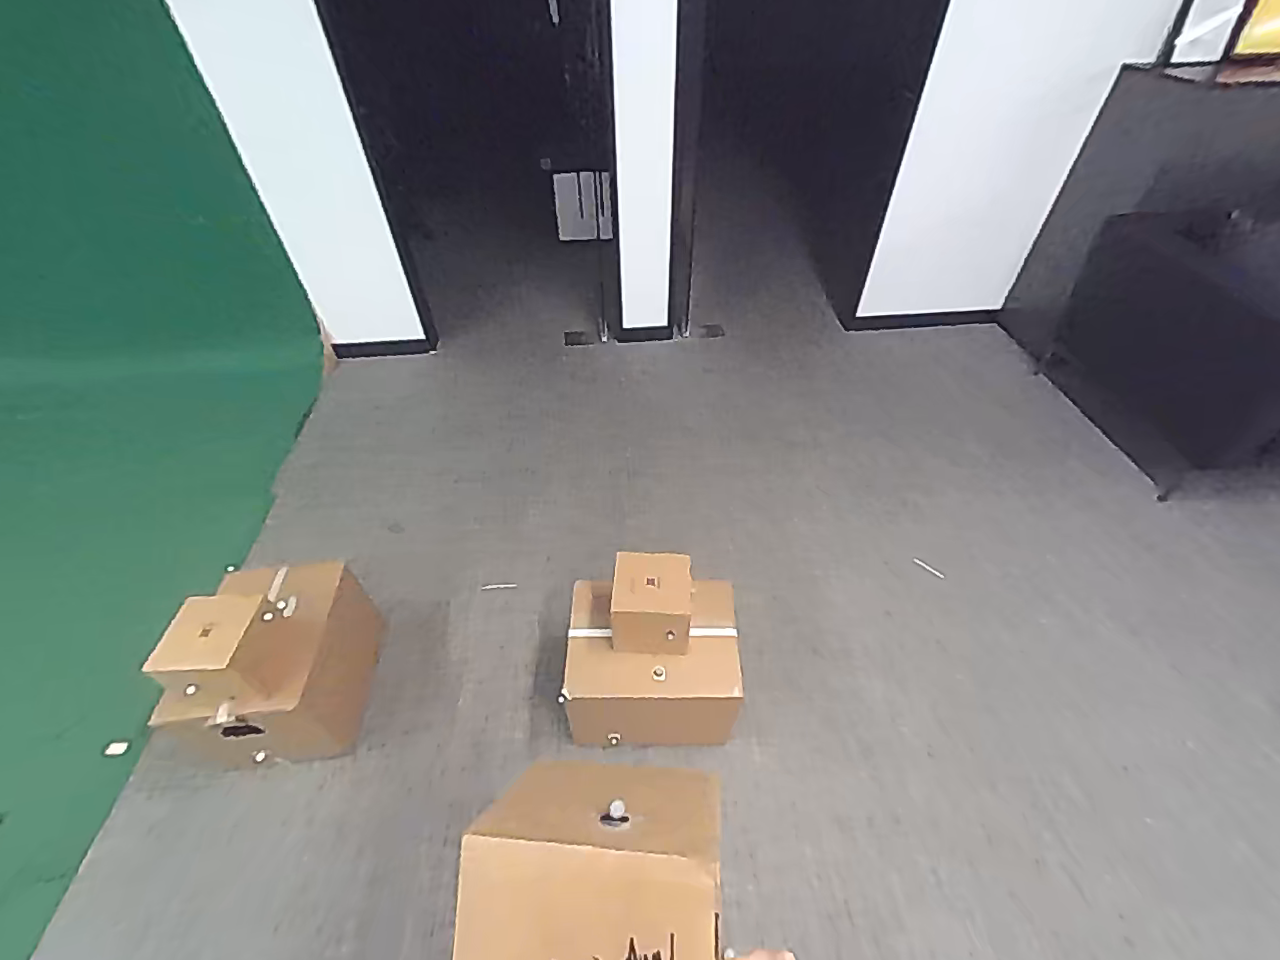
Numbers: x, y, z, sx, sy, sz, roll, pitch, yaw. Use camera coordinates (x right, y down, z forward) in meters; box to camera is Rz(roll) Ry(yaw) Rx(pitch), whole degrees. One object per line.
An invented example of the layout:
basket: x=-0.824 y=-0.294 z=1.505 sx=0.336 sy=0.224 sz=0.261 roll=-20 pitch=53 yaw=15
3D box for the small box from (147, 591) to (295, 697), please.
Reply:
small box: x=-0.900 y=0.364 z=1.186 sx=0.168 sy=0.176 sz=0.179 roll=-1 pitch=44 yaw=-2

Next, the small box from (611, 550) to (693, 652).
small box: x=0.029 y=0.284 z=1.258 sx=0.179 sy=0.176 sz=0.168 roll=2 pitch=43 yaw=3

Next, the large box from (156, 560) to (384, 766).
large box: x=-0.921 y=0.475 z=1.421 sx=0.320 sy=0.320 sz=0.408 roll=-4 pitch=45 yaw=-4
